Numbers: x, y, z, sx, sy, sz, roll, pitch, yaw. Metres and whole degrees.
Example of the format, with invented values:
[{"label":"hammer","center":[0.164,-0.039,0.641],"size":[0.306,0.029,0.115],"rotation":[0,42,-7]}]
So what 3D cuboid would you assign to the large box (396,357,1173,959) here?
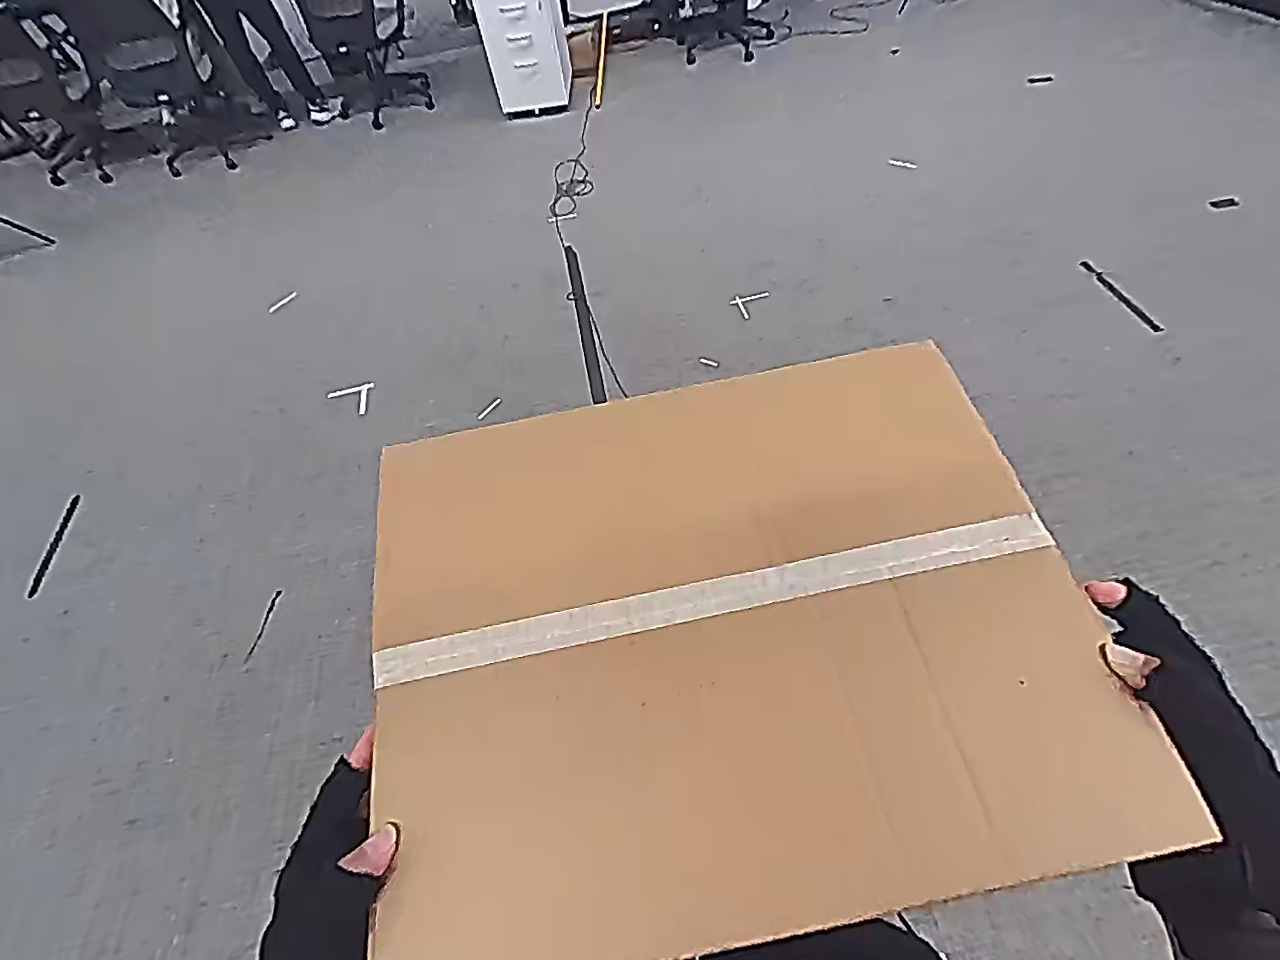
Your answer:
[{"label":"large box","center":[0.057,0.148,0.465],"size":[0.408,0.320,0.320],"rotation":[-12,63,-1]}]
